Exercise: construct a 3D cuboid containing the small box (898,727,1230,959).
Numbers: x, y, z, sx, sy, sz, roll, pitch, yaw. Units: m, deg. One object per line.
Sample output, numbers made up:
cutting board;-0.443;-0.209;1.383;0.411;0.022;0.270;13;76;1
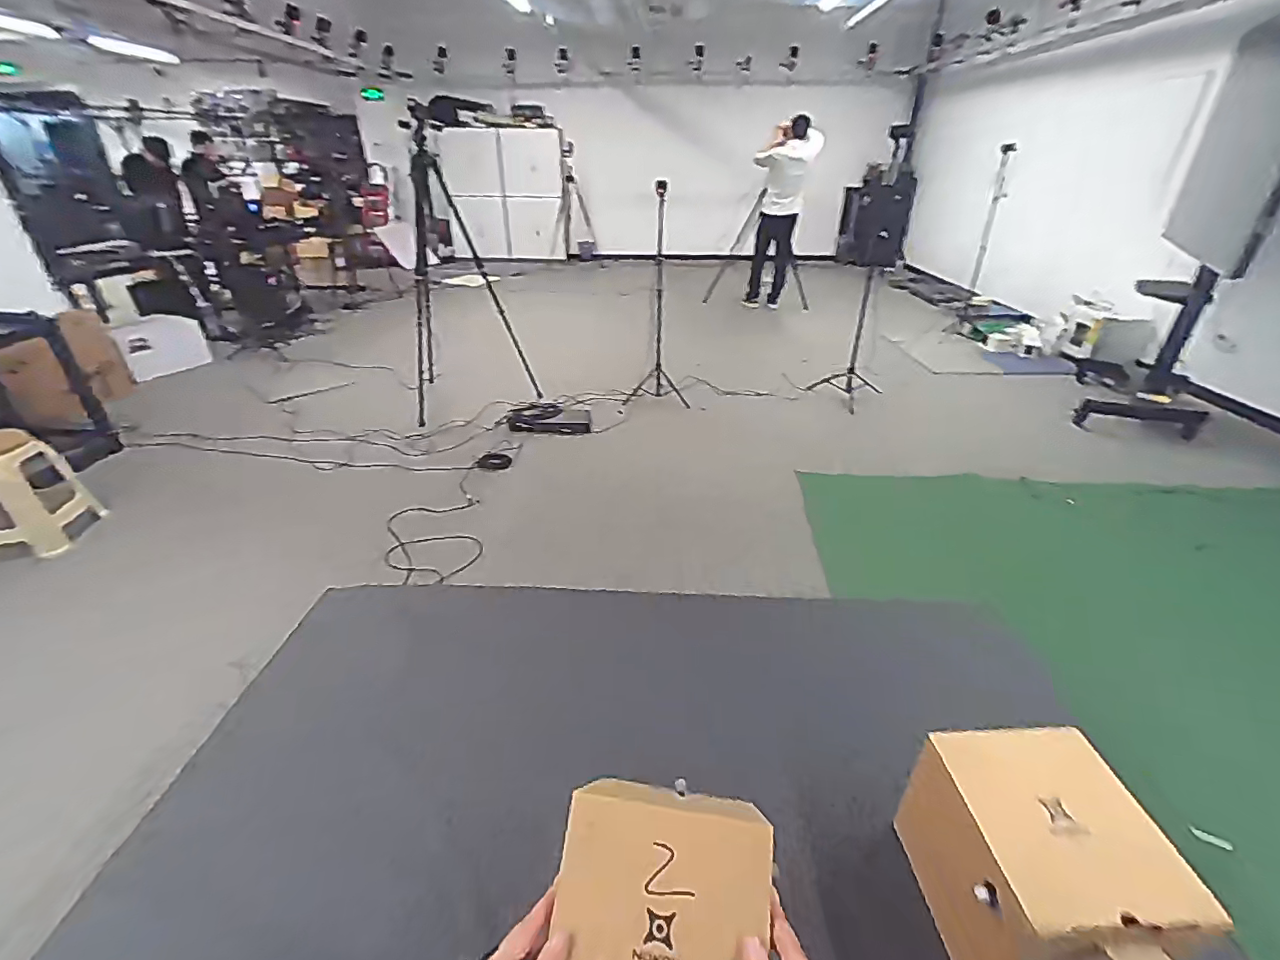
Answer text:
small box;0.388;0.377;0.542;0.168;0.176;0.179;-1;31;-2
